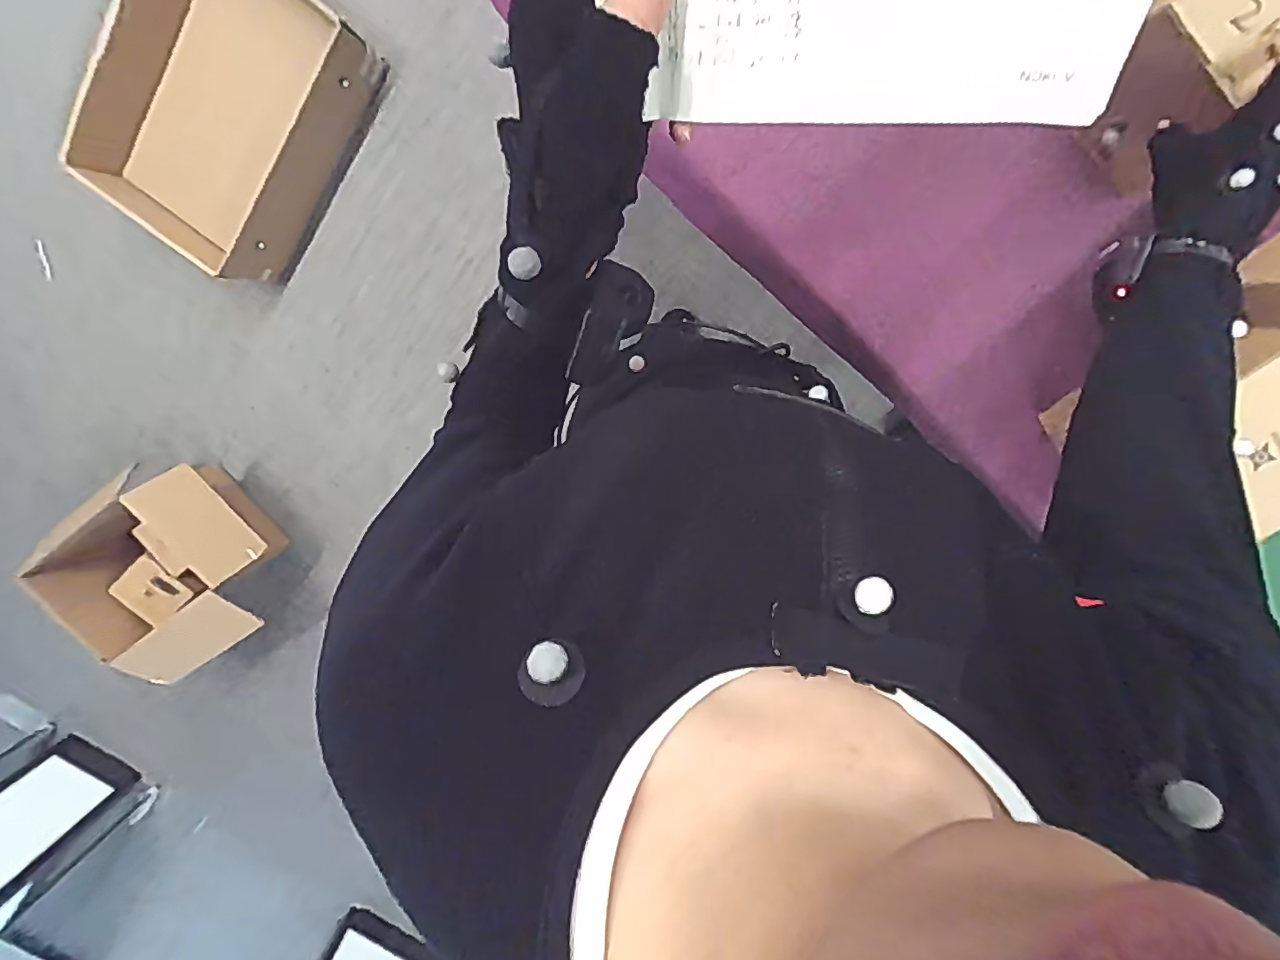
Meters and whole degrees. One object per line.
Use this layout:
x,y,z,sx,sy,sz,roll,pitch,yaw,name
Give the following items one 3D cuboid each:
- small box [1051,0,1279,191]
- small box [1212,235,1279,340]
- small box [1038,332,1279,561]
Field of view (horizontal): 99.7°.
0.541,-0.403,0.492,0.168,0.176,0.179,43,106,-10,small box
0.769,-0.196,0.546,0.179,0.176,0.168,-40,101,14,small box
0.609,-0.049,0.605,0.179,0.176,0.168,-37,101,14,small box
